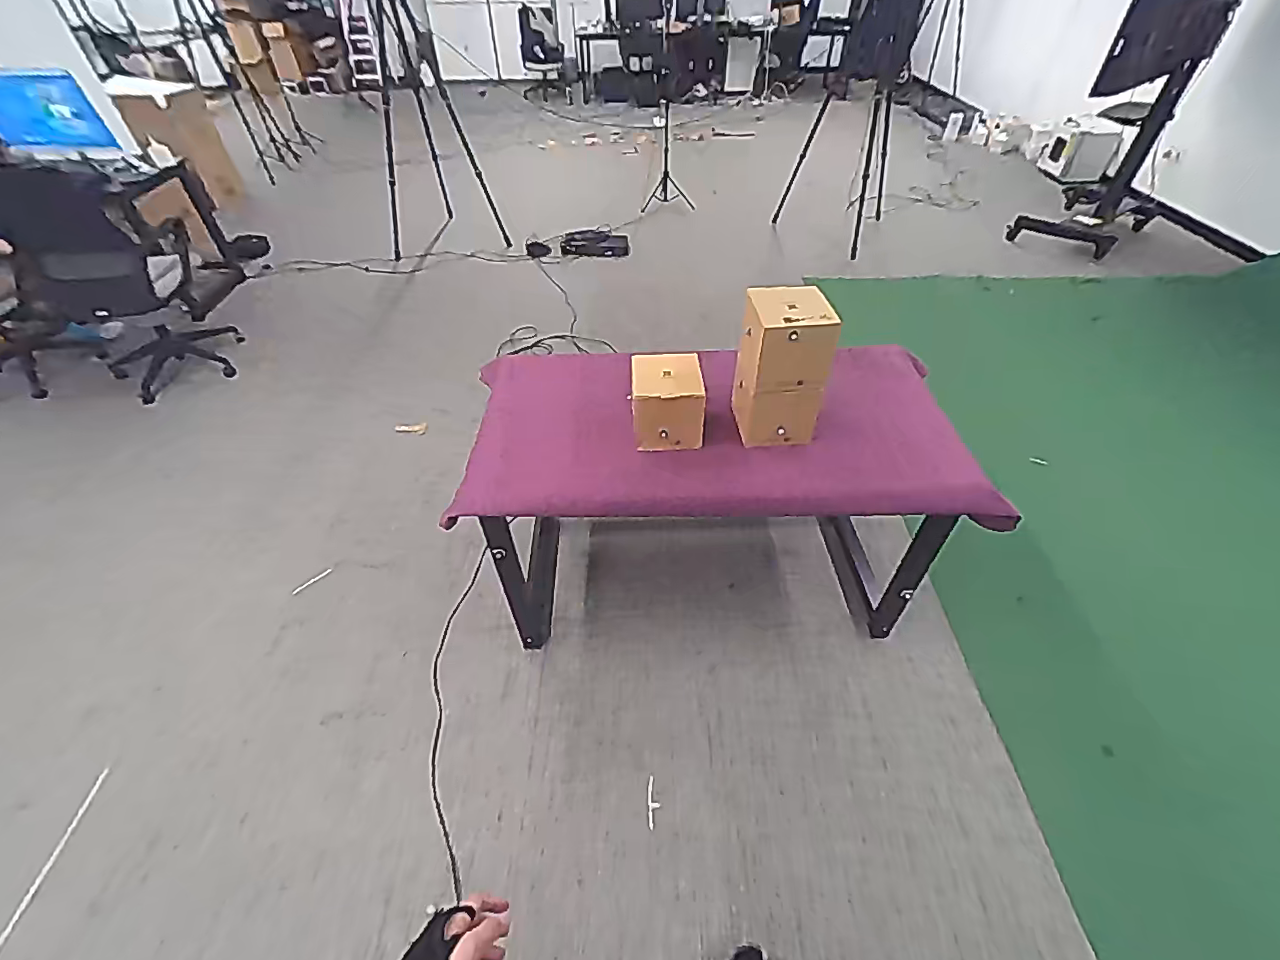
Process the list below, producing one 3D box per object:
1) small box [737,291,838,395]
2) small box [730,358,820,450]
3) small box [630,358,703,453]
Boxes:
[{"bbox_3d":[0.322,-0.311,1.227,0.168,0.176,0.179,-4,44,-3],"label":"small box"},{"bbox_3d":[0.324,-0.193,1.342,0.168,0.176,0.179,-4,45,-2],"label":"small box"},{"bbox_3d":[0.059,-0.185,1.340,0.168,0.176,0.179,-3,46,-2],"label":"small box"}]
